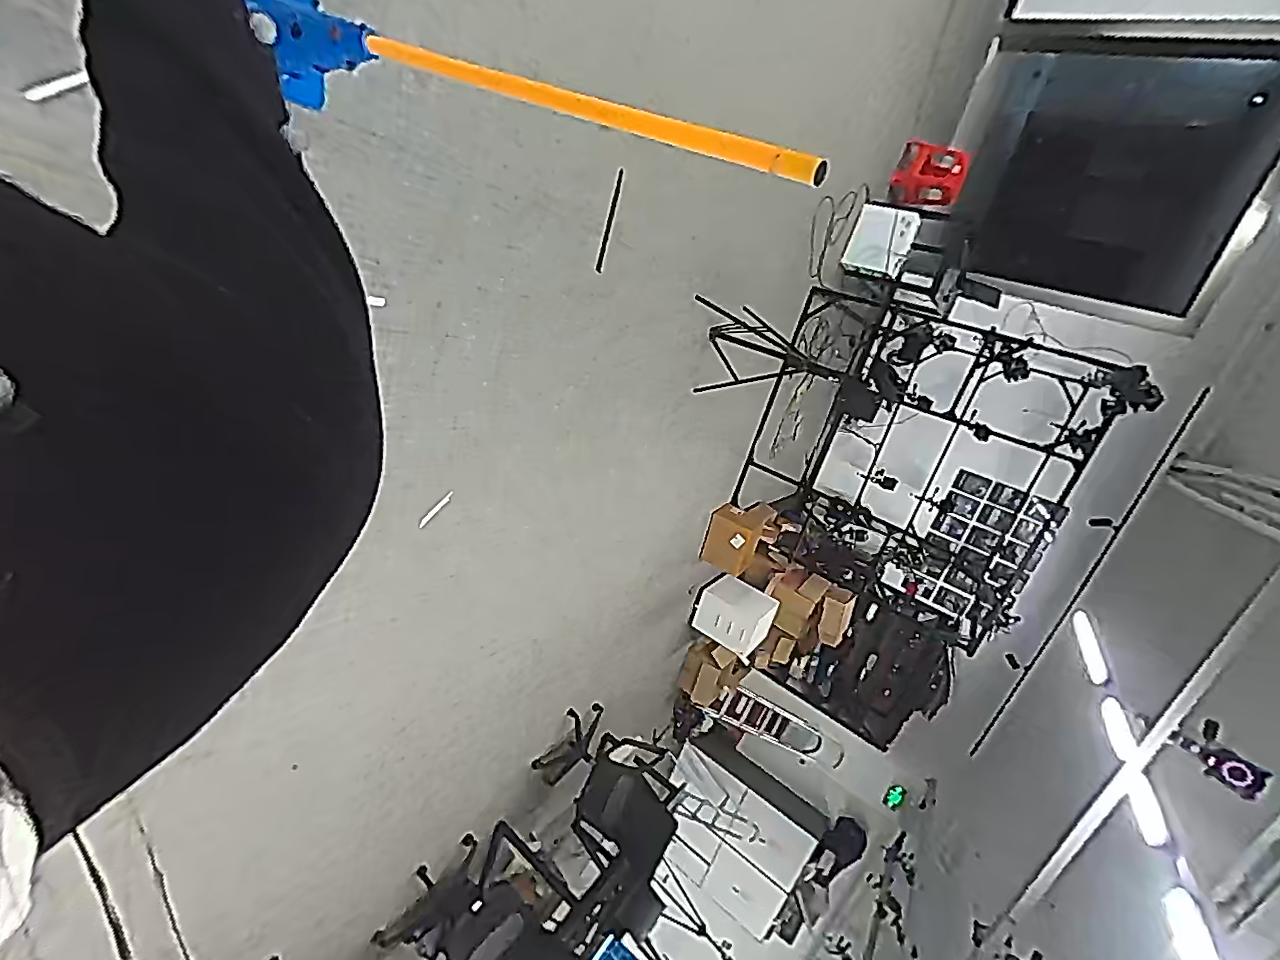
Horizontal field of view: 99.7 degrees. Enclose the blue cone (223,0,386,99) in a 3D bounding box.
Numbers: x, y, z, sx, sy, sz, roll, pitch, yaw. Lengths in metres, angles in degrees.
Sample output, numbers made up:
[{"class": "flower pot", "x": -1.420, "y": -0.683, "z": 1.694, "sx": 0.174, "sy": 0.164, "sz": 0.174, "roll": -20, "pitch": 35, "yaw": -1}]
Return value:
[{"class": "blue cone", "x": -0.593, "y": -0.825, "z": 1.002, "sx": 0.193, "sy": 0.380, "sz": 0.192, "roll": -17, "pitch": 128, "yaw": -54}]
